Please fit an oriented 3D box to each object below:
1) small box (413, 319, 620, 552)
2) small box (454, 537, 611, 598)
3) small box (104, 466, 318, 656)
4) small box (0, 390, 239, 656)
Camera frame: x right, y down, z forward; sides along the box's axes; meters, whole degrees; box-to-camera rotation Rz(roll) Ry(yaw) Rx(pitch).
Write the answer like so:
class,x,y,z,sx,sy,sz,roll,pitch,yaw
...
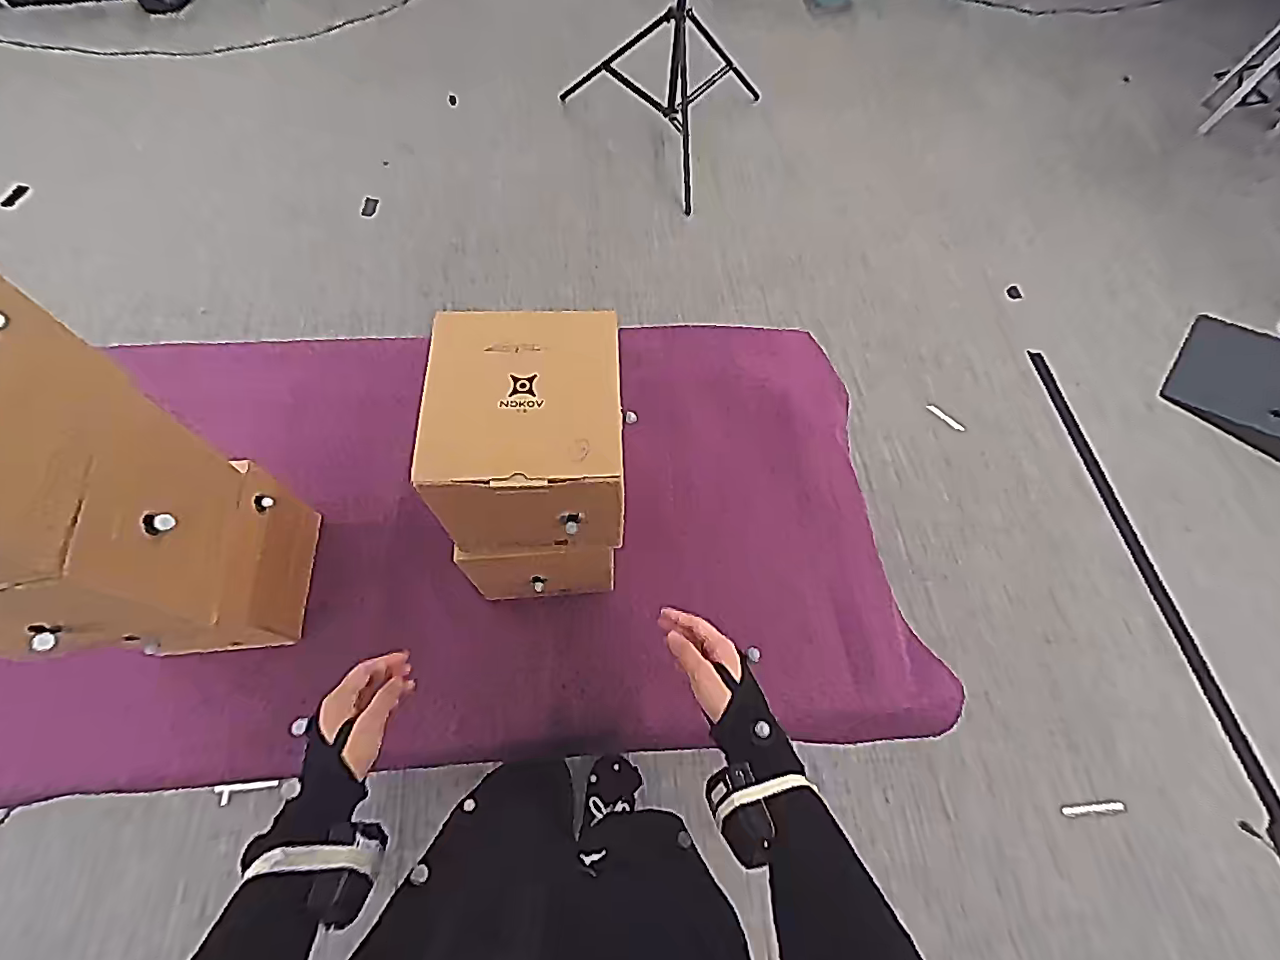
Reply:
class,x,y,z,sx,sy,sz,roll,pitch,yaw
small box,-0.104,-0.033,0.531,0.168,0.176,0.179,-2,63,-5
small box,-0.122,0.043,0.673,0.168,0.176,0.179,-3,64,-5
small box,-0.505,0.103,0.628,0.168,0.176,0.179,-4,63,-5
small box,-0.492,0.049,0.472,0.168,0.176,0.179,-8,64,-7
